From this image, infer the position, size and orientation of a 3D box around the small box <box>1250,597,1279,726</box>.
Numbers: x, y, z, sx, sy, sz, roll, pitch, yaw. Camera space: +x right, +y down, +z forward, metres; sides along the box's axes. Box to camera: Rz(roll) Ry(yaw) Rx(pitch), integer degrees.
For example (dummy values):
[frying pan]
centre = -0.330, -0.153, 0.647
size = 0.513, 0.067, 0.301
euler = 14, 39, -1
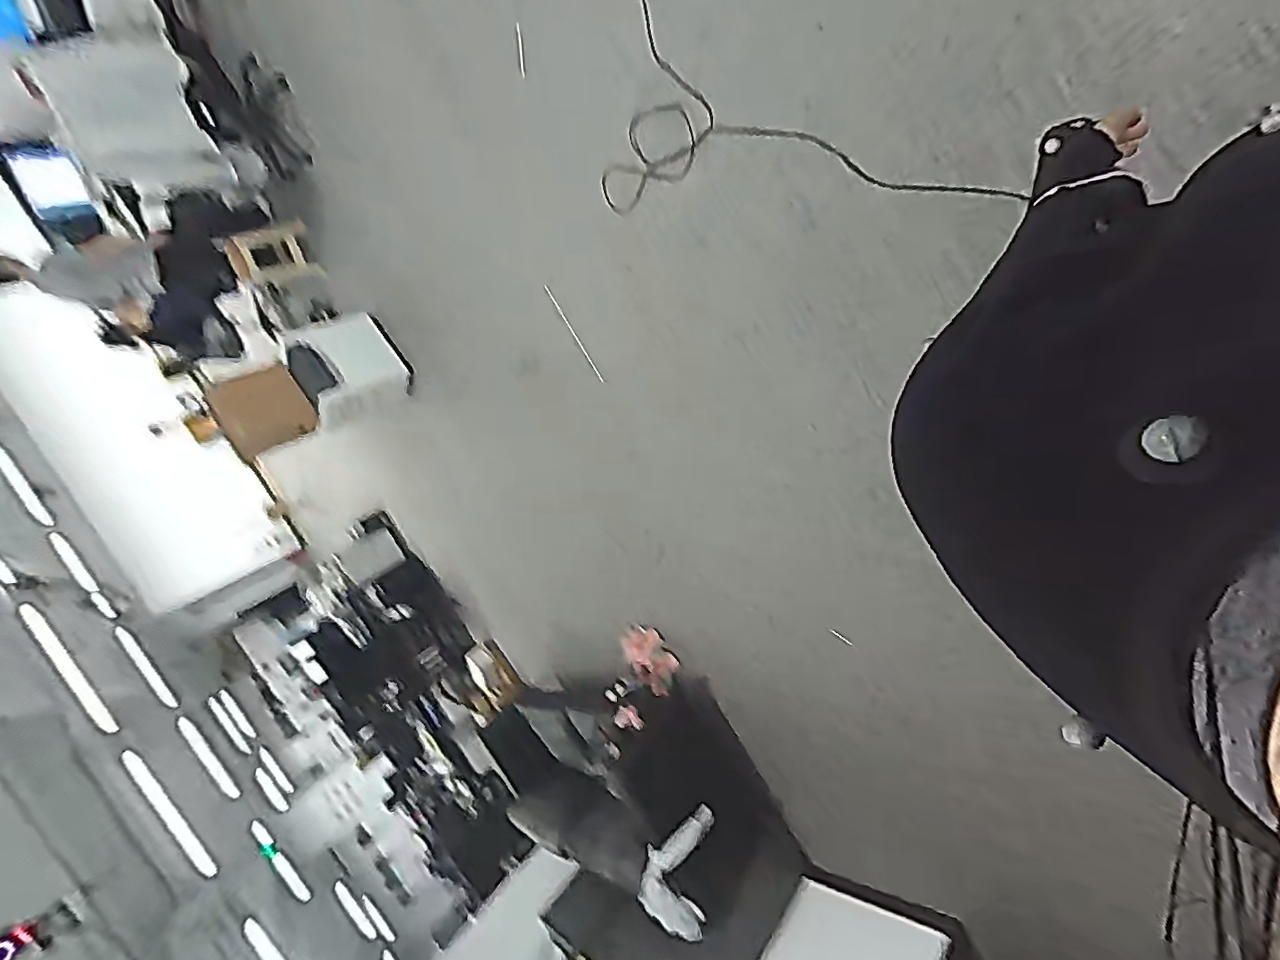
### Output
[small box]
centre = 1.192, 0.320, 0.932
size = 0.179, 0.176, 0.168
euler = -5, 112, 49
